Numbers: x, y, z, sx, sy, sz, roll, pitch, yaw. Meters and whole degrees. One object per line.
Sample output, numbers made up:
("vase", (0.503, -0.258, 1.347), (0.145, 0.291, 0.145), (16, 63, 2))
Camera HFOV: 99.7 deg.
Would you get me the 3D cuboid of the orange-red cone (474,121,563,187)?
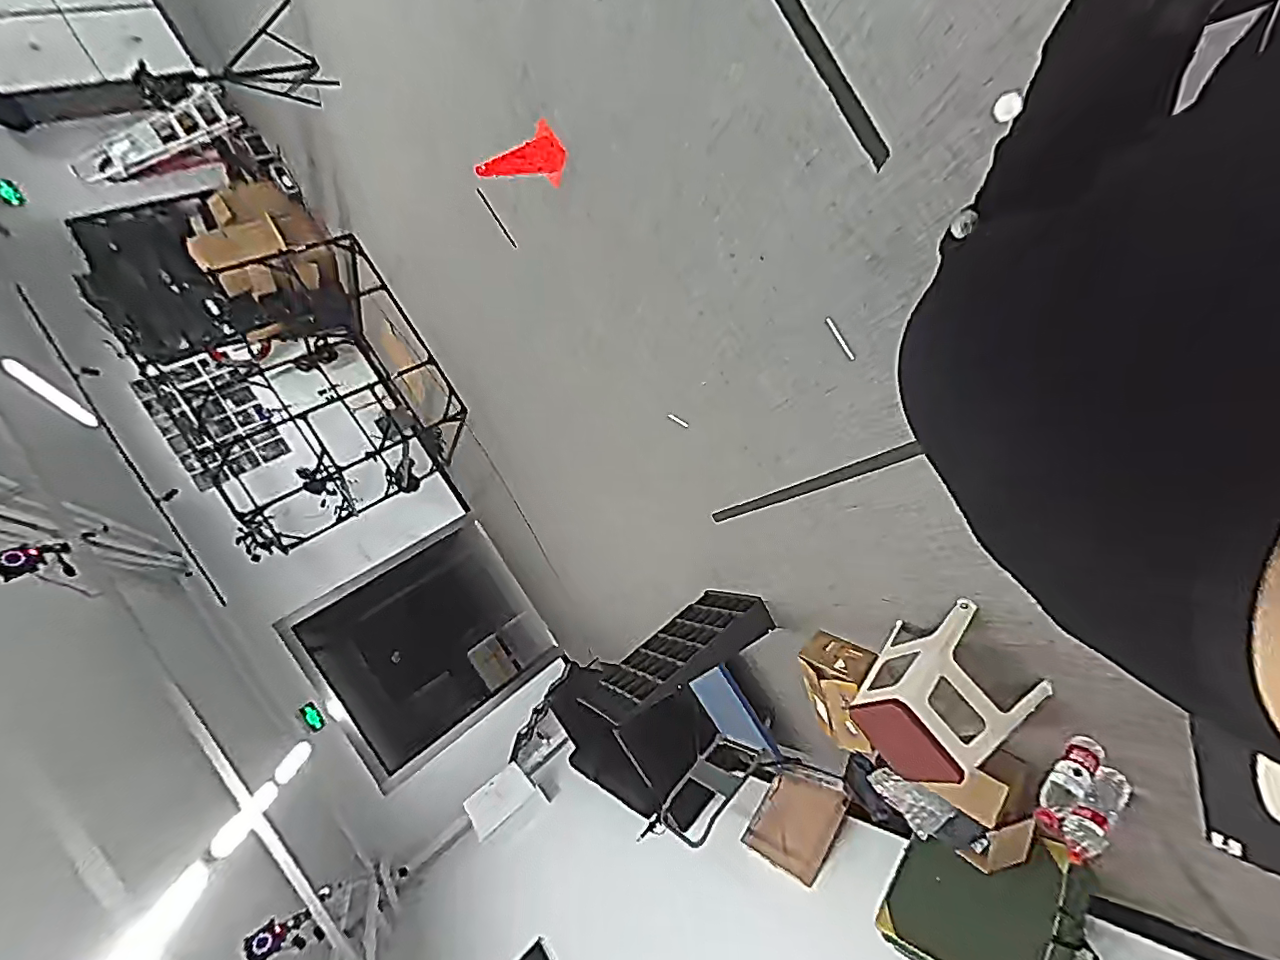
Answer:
("orange-red cone", (-0.531, -1.321, 2.262), (0.199, 0.360, 0.198), (54, 153, 2))
